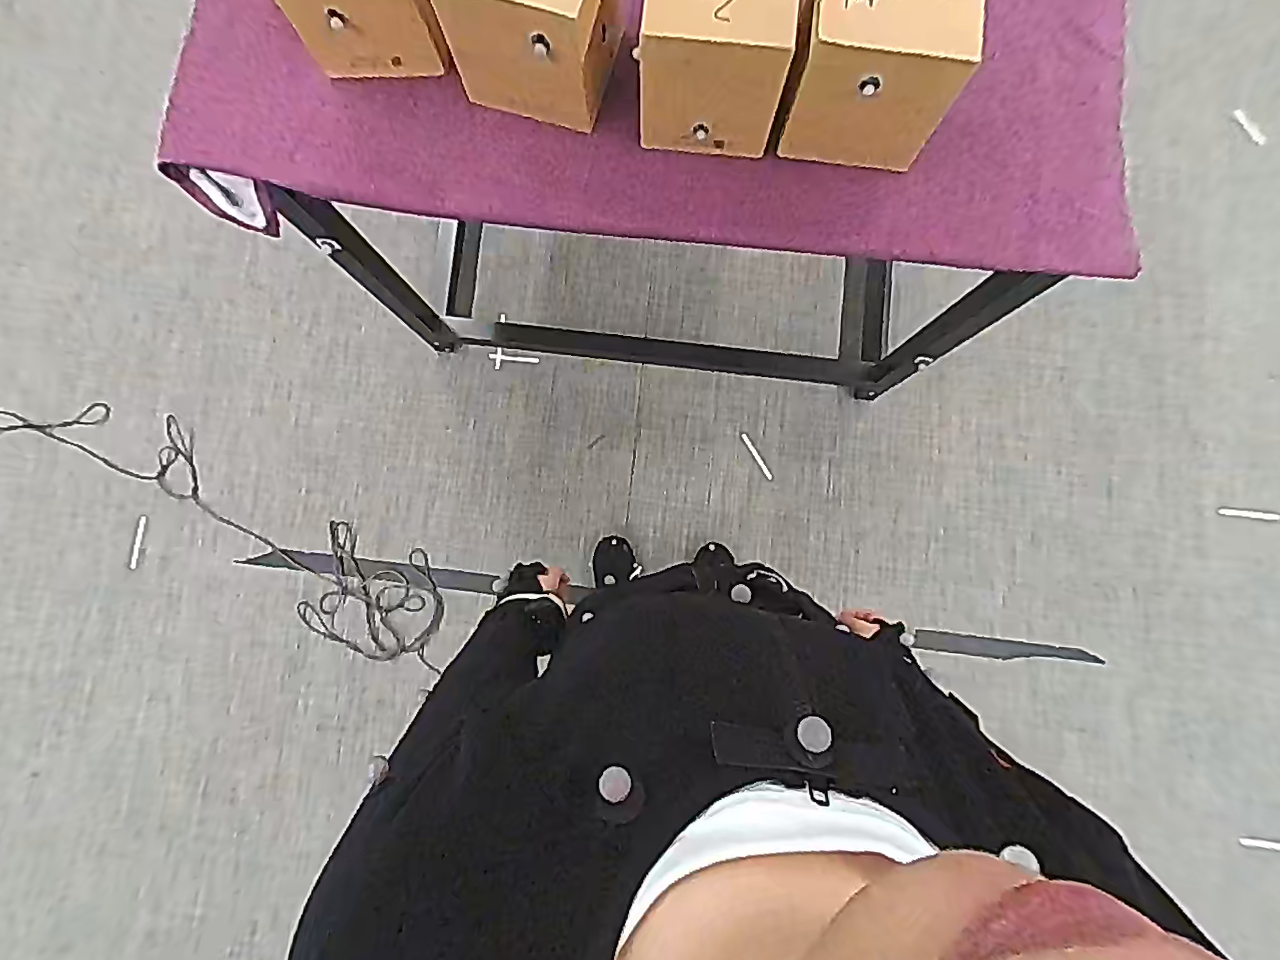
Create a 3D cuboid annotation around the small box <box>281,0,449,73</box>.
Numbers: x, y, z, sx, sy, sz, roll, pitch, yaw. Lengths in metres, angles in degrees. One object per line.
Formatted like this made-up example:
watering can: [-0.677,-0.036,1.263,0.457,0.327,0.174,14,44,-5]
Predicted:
small box: [-0.348,-0.649,0.676,0.168,0.176,0.179,-2,84,1]
